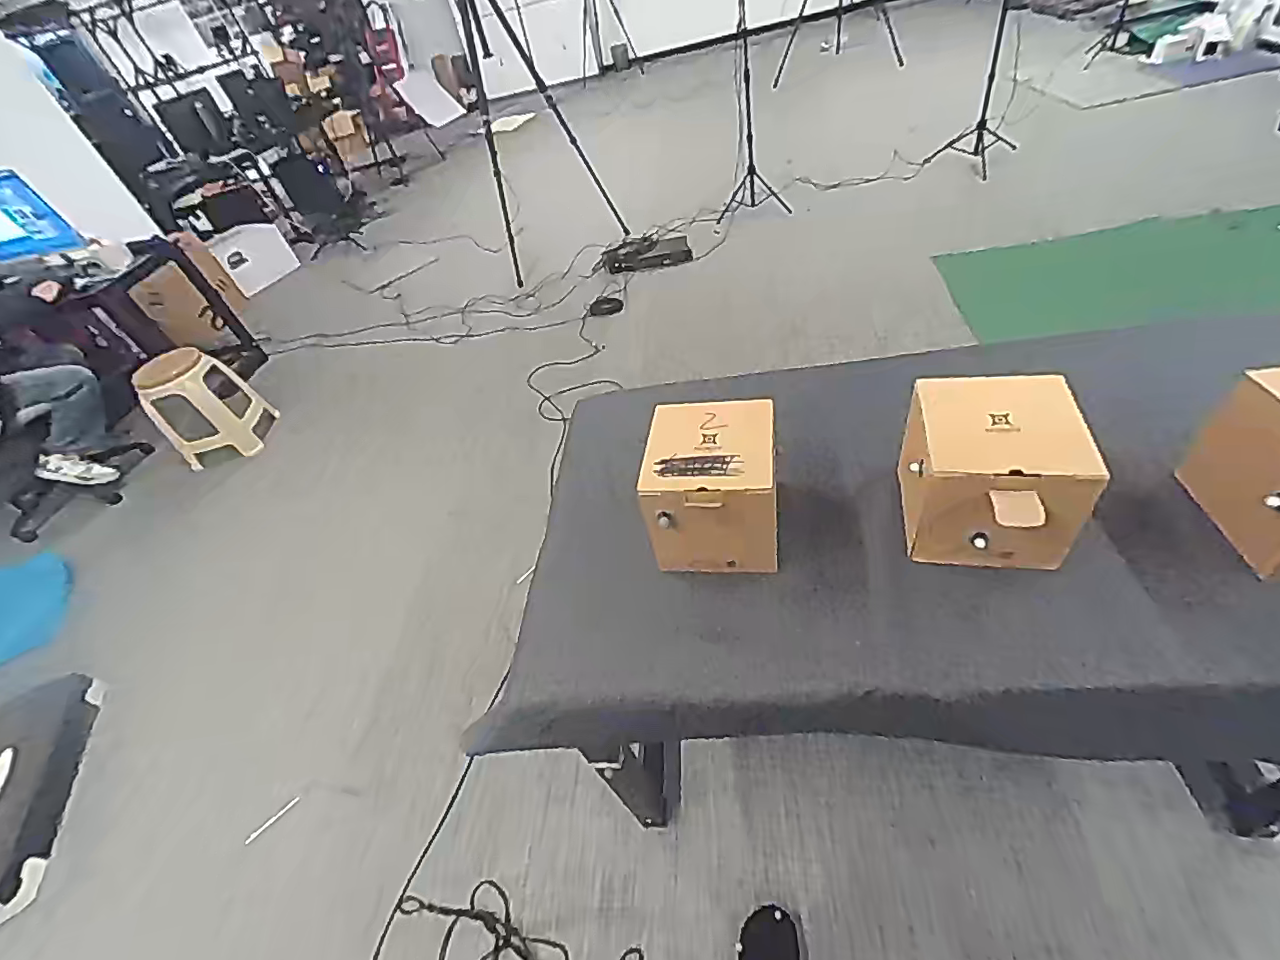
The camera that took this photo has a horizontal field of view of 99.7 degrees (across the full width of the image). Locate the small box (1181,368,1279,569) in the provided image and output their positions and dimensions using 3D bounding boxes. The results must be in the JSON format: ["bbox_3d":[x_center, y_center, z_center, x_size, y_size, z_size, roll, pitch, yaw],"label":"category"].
[{"bbox_3d":[0.759,-0.009,0.580,0.168,0.176,0.179,-4,44,11],"label":"small box"}]

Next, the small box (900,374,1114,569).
[{"bbox_3d":[0.432,-0.013,0.676,0.168,0.176,0.179,2,47,17],"label":"small box"}]
